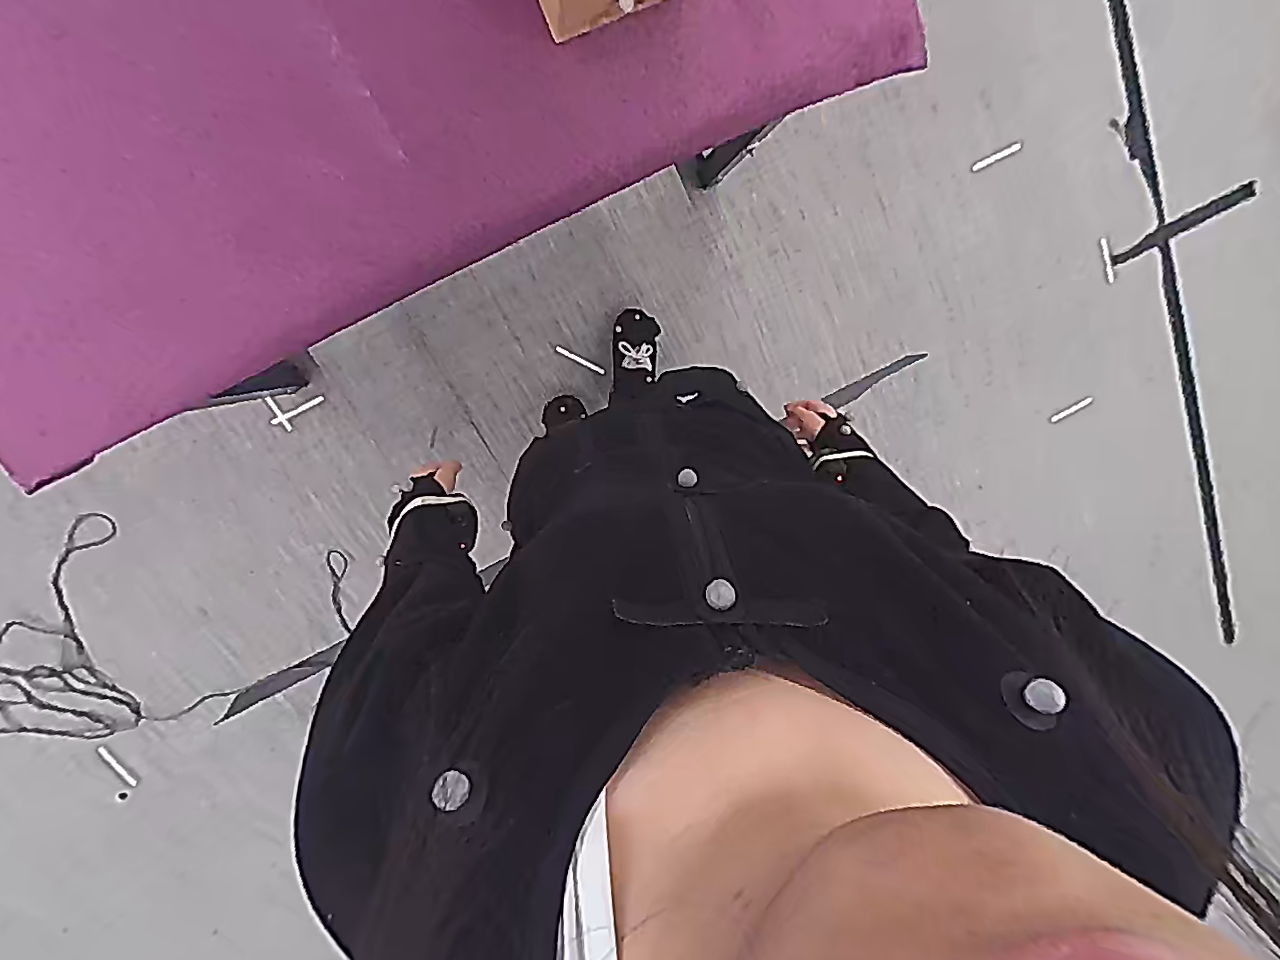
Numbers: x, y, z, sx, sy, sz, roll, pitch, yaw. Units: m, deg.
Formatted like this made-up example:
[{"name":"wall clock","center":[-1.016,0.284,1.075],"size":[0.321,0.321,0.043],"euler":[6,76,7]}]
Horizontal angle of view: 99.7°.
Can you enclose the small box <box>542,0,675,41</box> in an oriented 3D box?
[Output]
[{"name":"small box","center":[-0.039,-0.586,0.520],"size":[0.168,0.176,0.179],"euler":[-25,106,-3]}]
